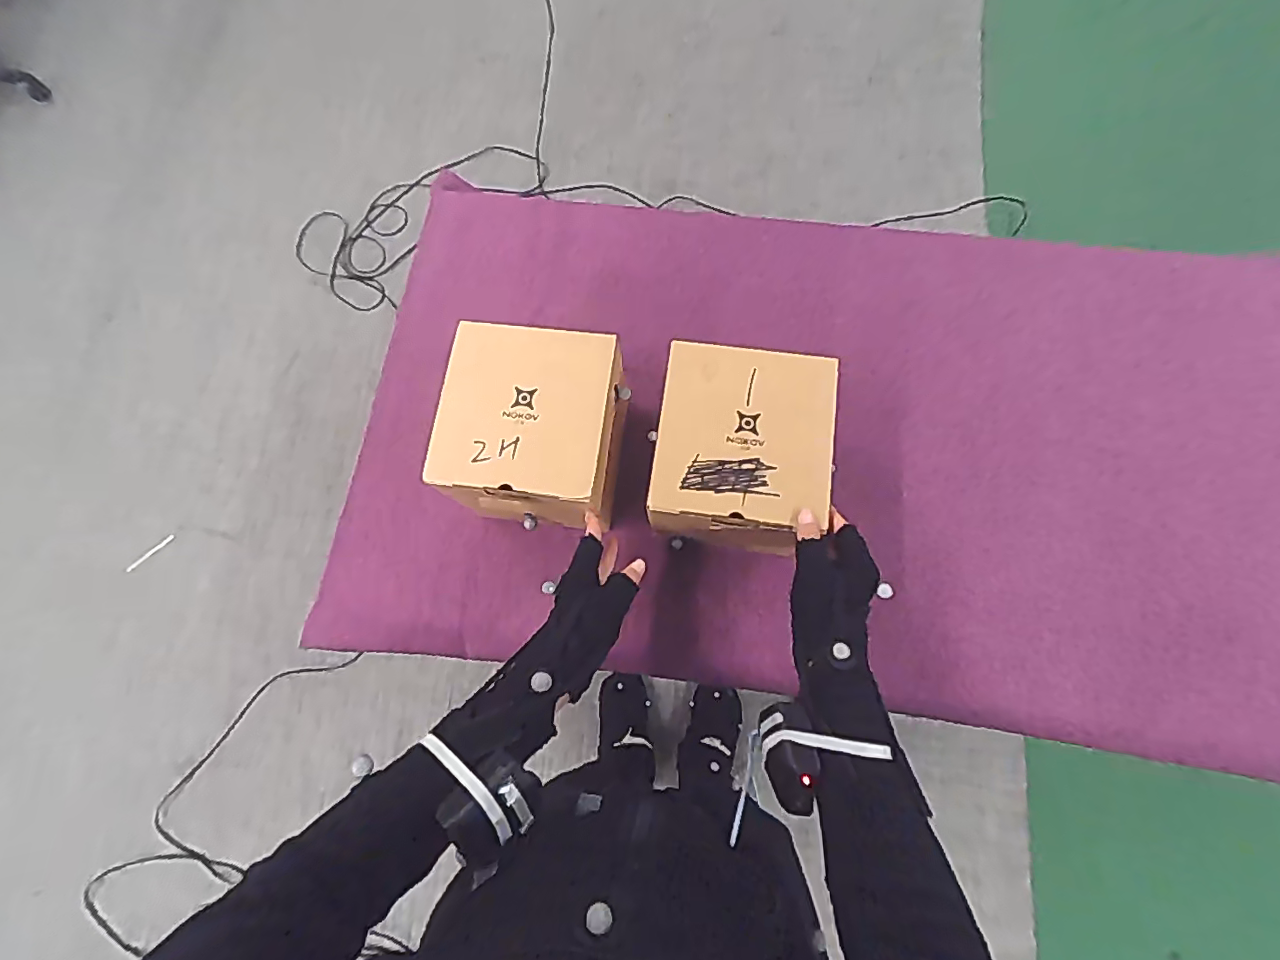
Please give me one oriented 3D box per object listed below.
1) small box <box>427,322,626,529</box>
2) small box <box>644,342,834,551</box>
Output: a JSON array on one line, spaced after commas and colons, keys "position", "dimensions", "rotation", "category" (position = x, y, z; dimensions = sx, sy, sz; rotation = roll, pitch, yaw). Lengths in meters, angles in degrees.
[{"position": [-0.110, -0.052, 0.610], "dimensions": [0.168, 0.176, 0.179], "rotation": [6, 76, 5], "category": "small box"}, {"position": [0.101, -0.025, 0.592], "dimensions": [0.168, 0.176, 0.179], "rotation": [8, 75, 5], "category": "small box"}]
